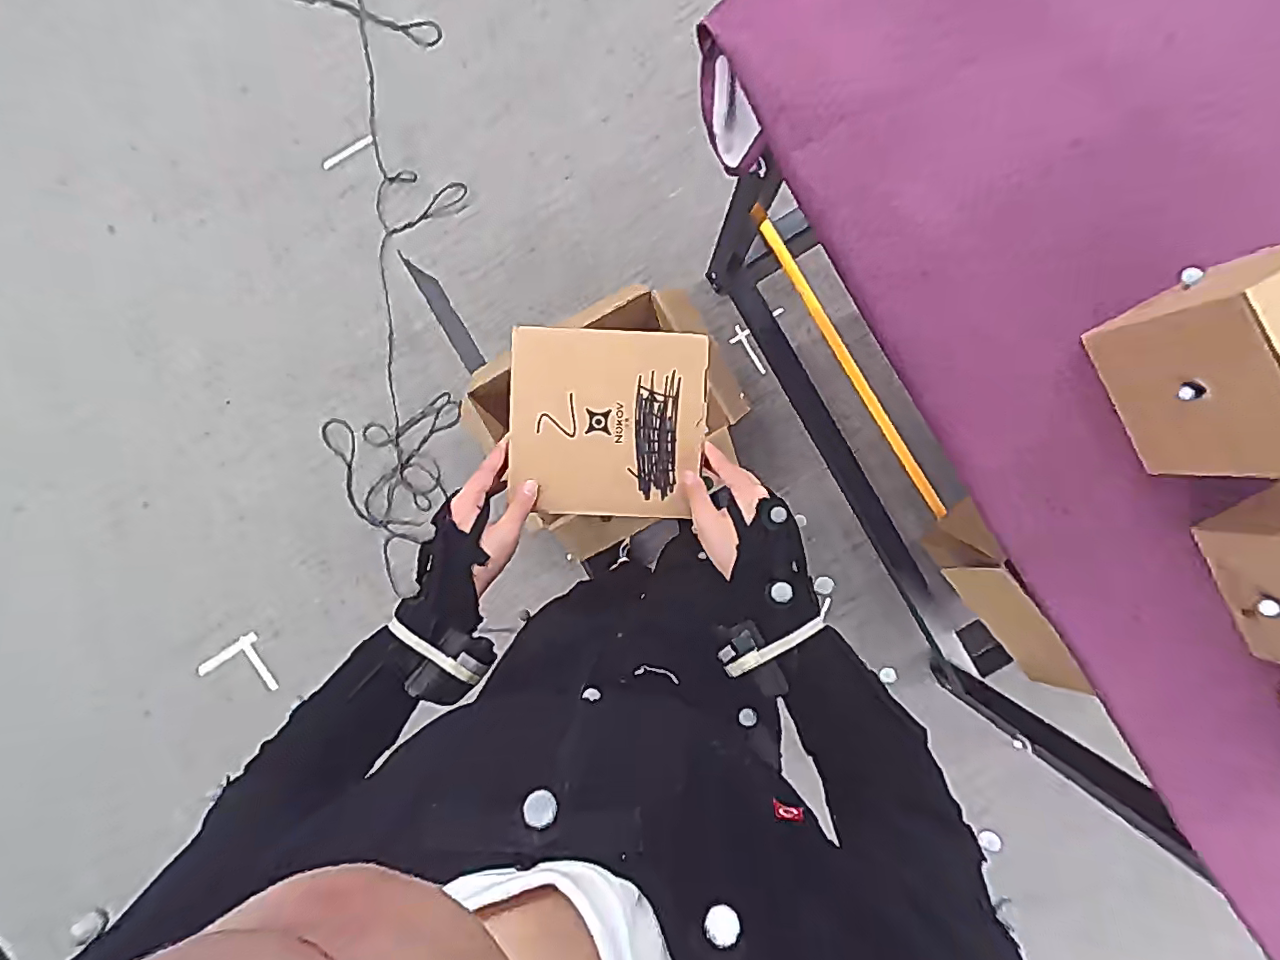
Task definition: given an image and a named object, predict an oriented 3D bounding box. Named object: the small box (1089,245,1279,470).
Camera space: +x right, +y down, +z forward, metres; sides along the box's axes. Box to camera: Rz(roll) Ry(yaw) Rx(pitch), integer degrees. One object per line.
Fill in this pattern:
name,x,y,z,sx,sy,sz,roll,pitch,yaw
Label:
small box,0.598,-0.121,0.516,0.168,0.176,0.179,-28,90,1
